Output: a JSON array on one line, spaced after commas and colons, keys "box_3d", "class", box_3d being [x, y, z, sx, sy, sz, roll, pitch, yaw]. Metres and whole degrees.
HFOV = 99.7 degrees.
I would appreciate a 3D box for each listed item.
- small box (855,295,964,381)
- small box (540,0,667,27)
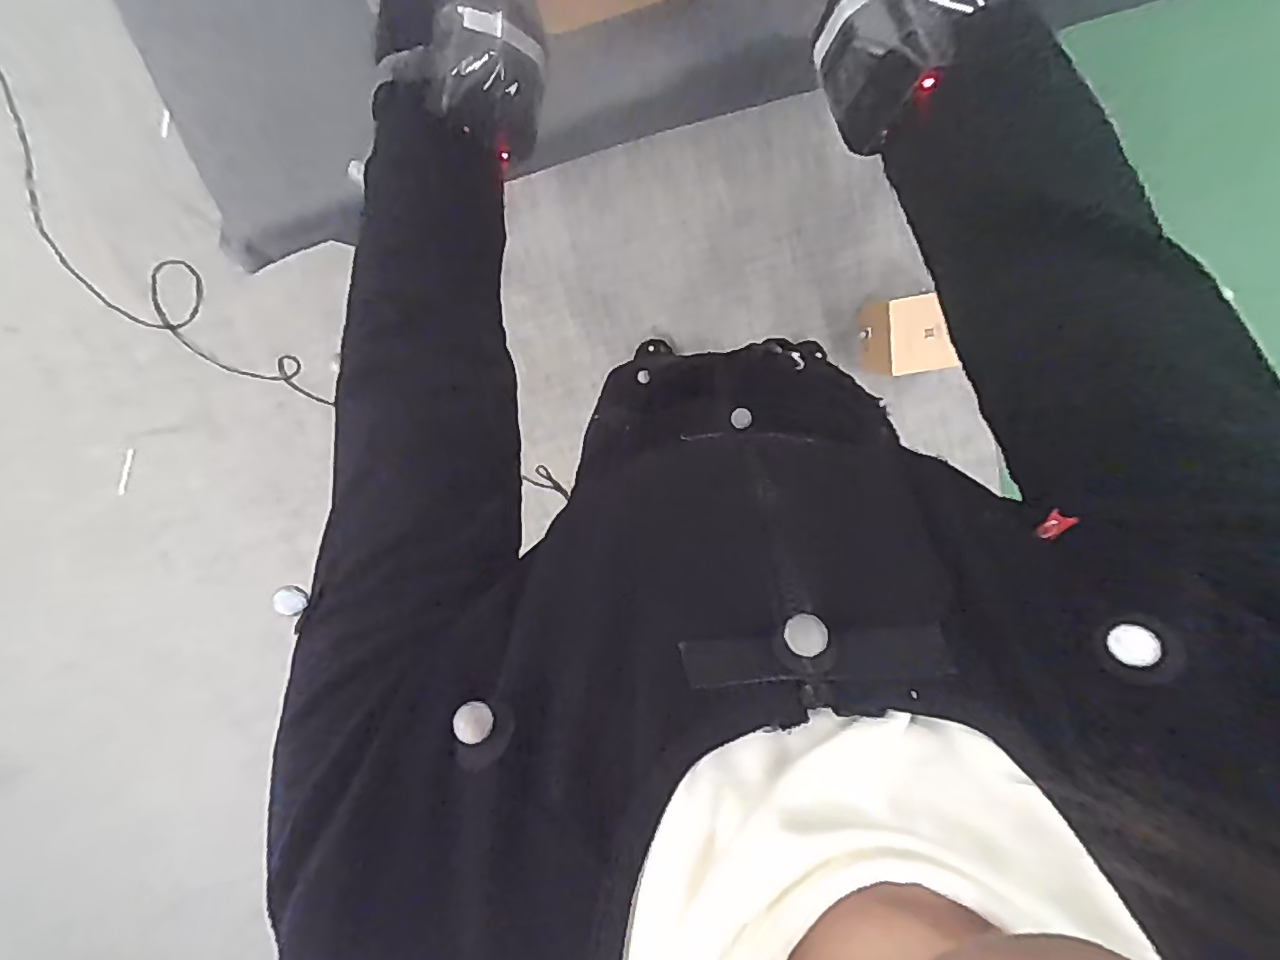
[{"box_3d": [0.622, -0.330, 1.260, 0.179, 0.176, 0.168, -8, 104, 4], "class": "small box"}, {"box_3d": [-0.029, -0.532, 0.452, 0.179, 0.176, 0.168, -13, 104, 4], "class": "small box"}]
